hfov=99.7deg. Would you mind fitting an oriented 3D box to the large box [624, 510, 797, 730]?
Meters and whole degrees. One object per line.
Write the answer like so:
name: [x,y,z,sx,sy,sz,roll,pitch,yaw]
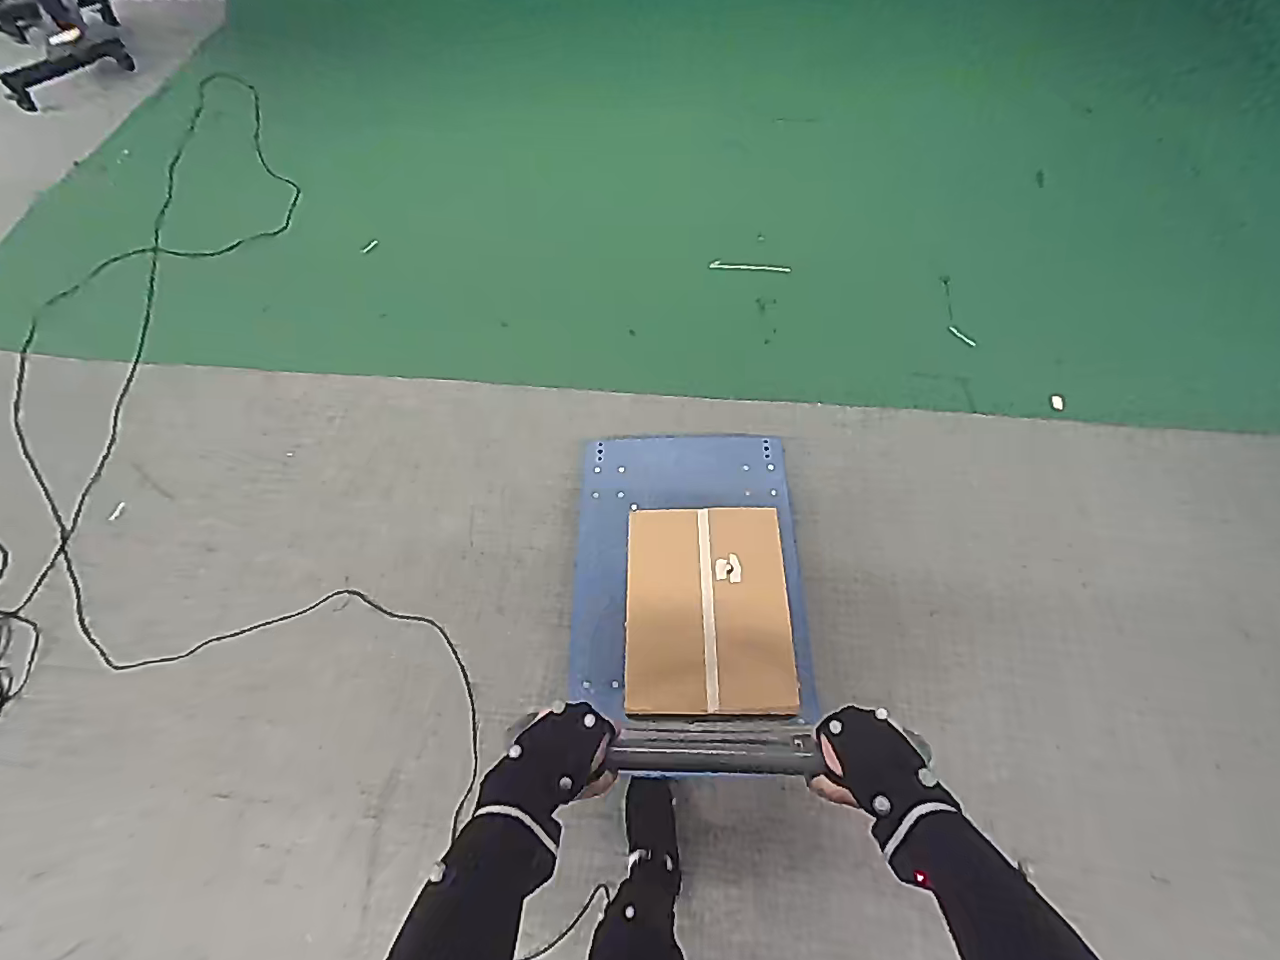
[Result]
large box: [0.135,0.315,1.189,0.320,0.320,0.408,-1,60,2]
